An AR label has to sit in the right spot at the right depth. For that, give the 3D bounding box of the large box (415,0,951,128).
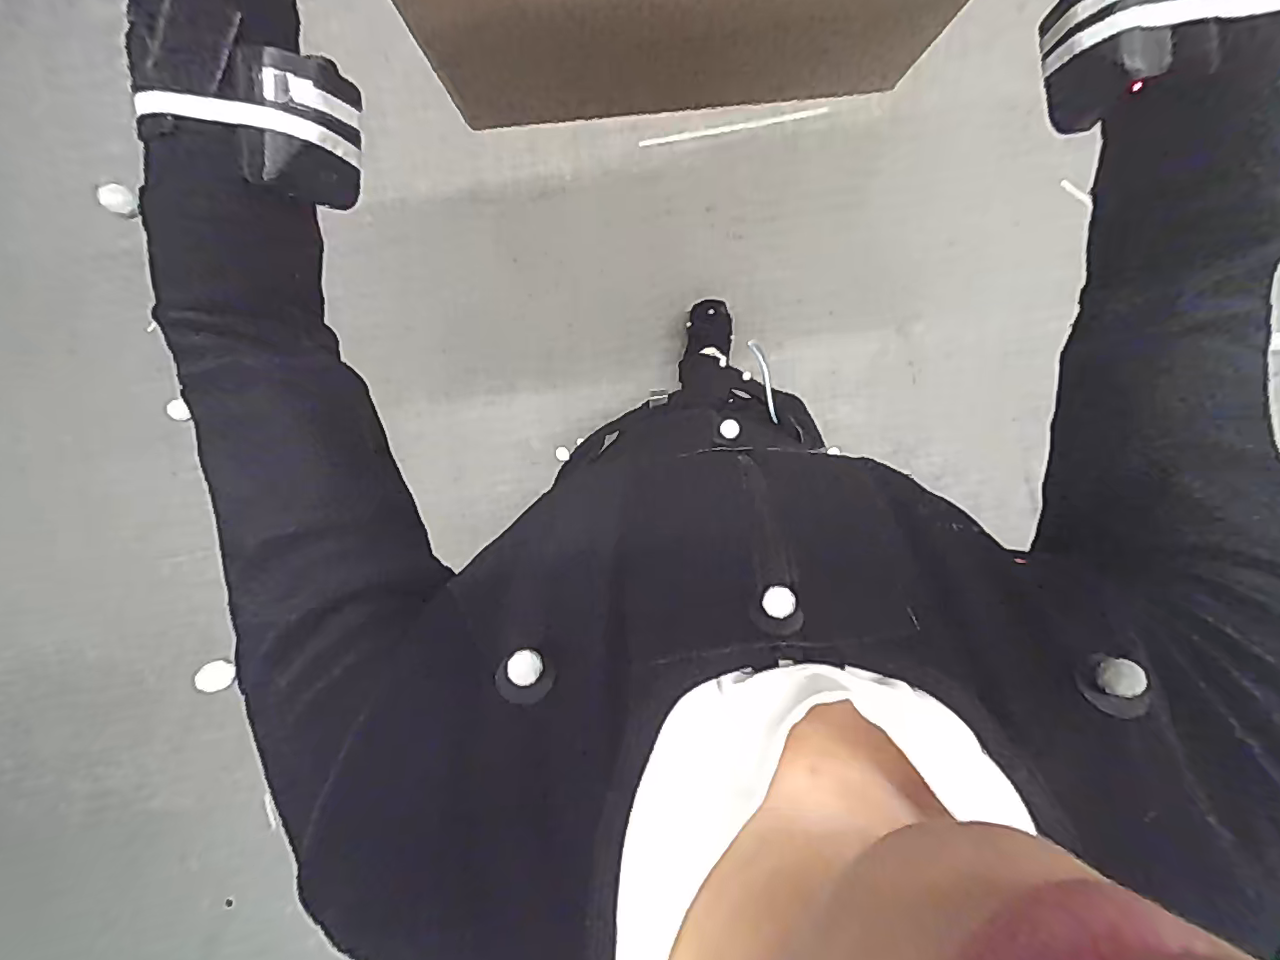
[{"bbox_3d":[0.028,-0.483,0.349,0.408,0.320,0.320,-6,99,-1],"label":"large box"}]
